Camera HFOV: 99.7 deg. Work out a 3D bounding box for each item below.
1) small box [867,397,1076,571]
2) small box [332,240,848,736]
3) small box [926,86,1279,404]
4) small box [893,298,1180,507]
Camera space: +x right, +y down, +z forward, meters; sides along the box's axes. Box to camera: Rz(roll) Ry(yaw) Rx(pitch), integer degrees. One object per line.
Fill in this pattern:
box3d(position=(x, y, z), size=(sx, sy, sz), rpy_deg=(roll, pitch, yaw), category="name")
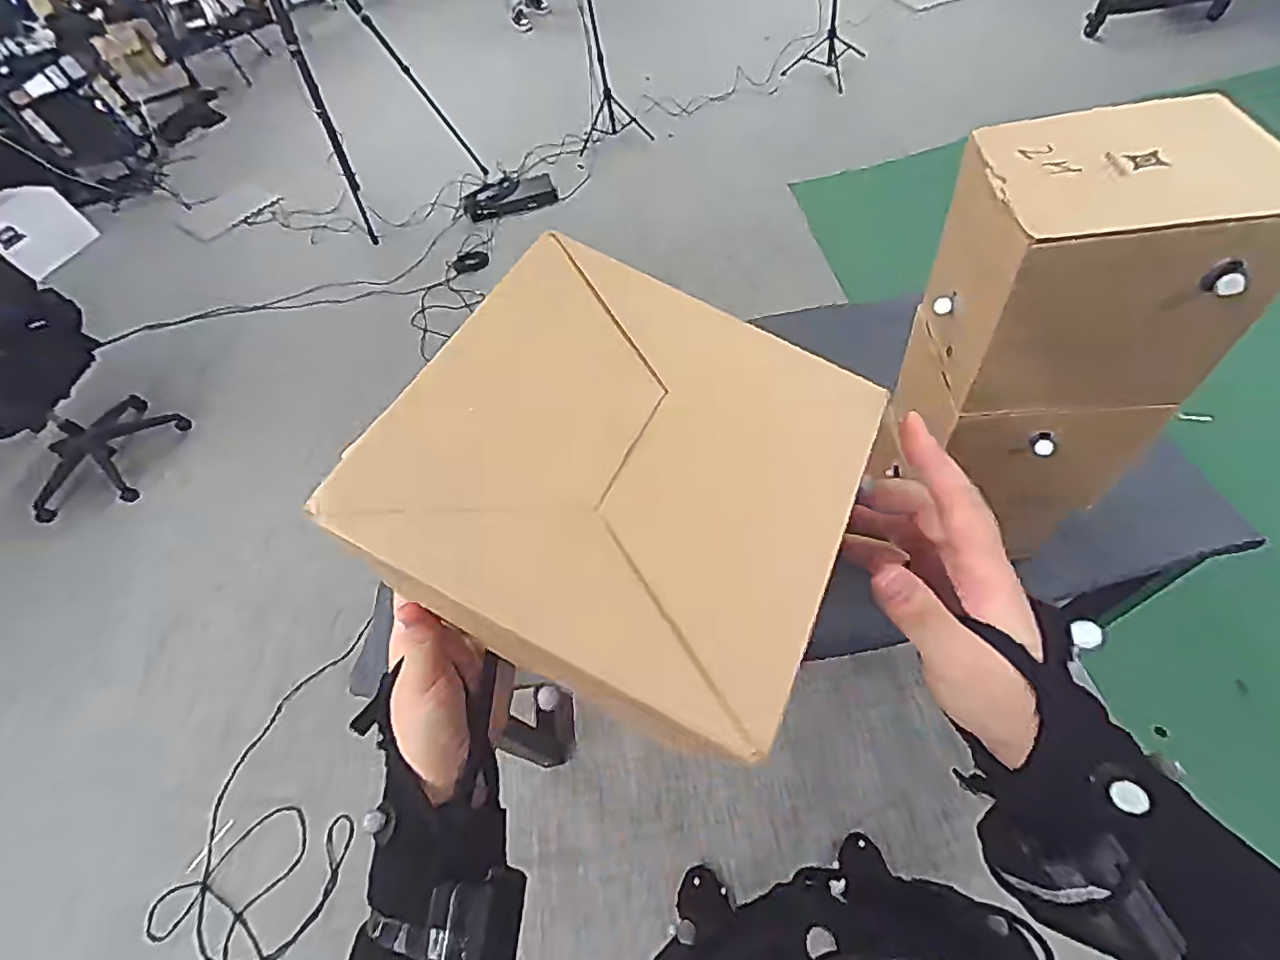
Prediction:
box3d(position=(0.417, -0.004, 0.714), size=(0.168, 0.176, 0.179), rpy_deg=(-12, 54, 6), category="small box")
box3d(position=(-0.014, 0.017, 0.284), size=(0.179, 0.176, 0.168), rpy_deg=(26, 65, 2), category="small box")
box3d(position=(0.360, -0.179, 0.443), size=(0.179, 0.176, 0.168), rpy_deg=(-2, 55, 13), category="small box")
box3d(position=(0.389, -0.083, 0.575), size=(0.179, 0.176, 0.168), rpy_deg=(-3, 55, 12), category="small box")
